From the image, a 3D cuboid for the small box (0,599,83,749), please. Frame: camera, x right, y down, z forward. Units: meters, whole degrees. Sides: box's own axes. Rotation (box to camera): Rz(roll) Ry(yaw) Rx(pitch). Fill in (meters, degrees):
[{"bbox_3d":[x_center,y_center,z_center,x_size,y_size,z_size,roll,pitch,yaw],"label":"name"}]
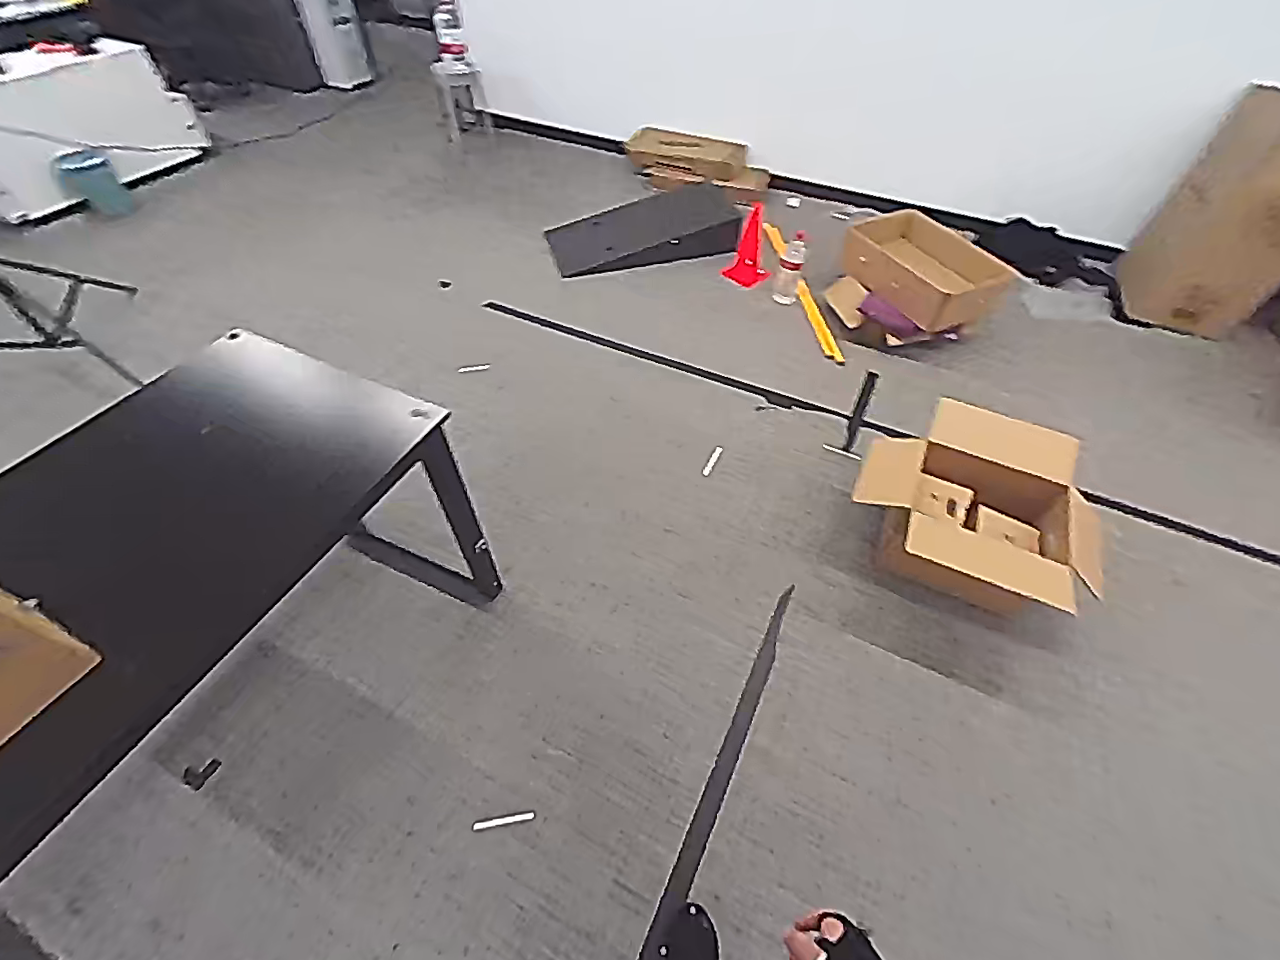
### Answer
[{"bbox_3d":[-0.858,0.237,0.663,0.168,0.176,0.179,22,54,17],"label":"small box"}]
